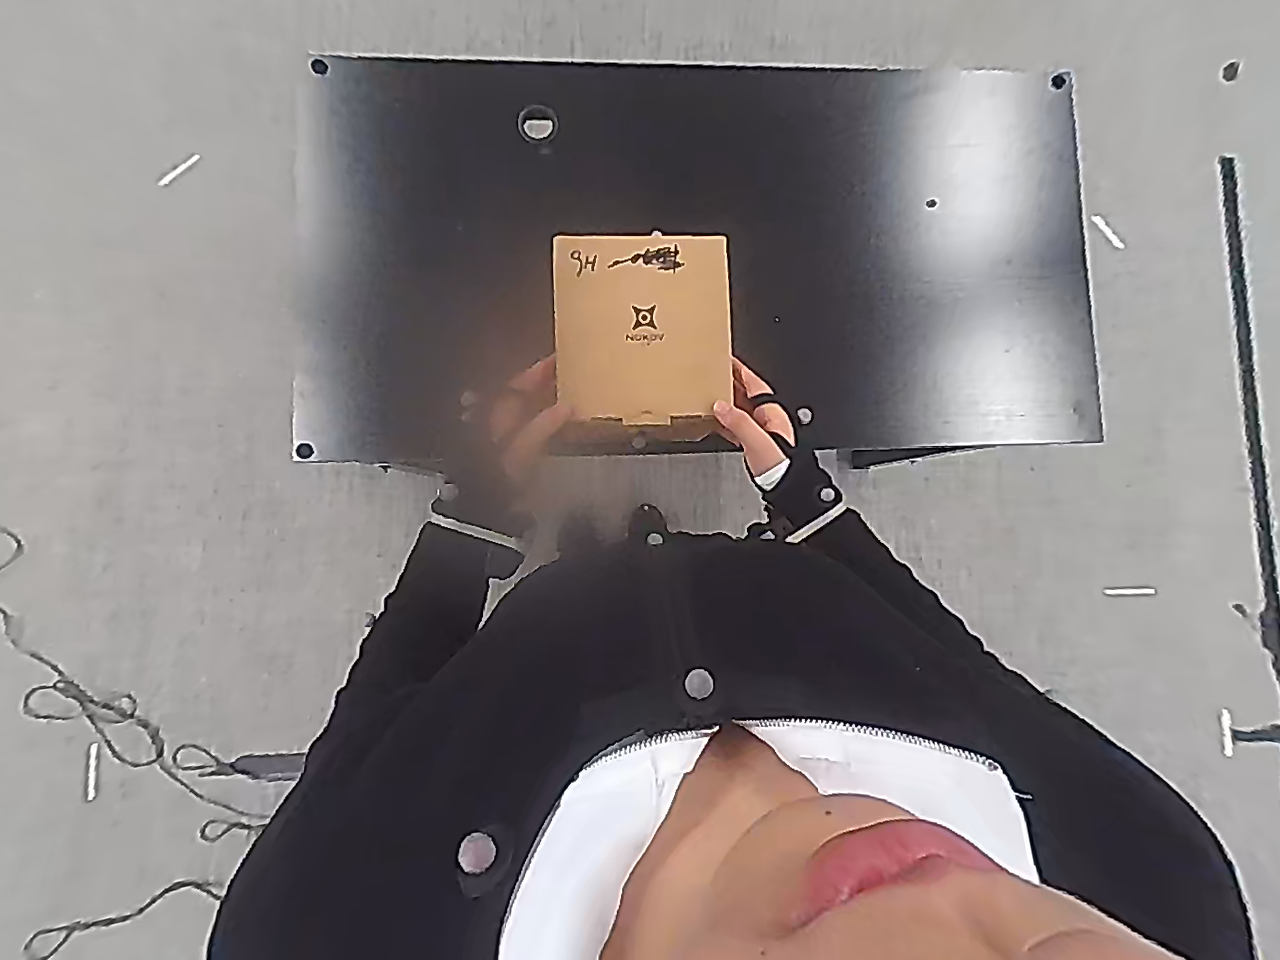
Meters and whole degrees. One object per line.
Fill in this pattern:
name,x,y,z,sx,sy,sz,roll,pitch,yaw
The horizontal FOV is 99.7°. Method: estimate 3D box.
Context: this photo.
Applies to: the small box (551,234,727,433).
small box,-0.004,-0.143,0.587,0.168,0.176,0.179,-2,88,-4
